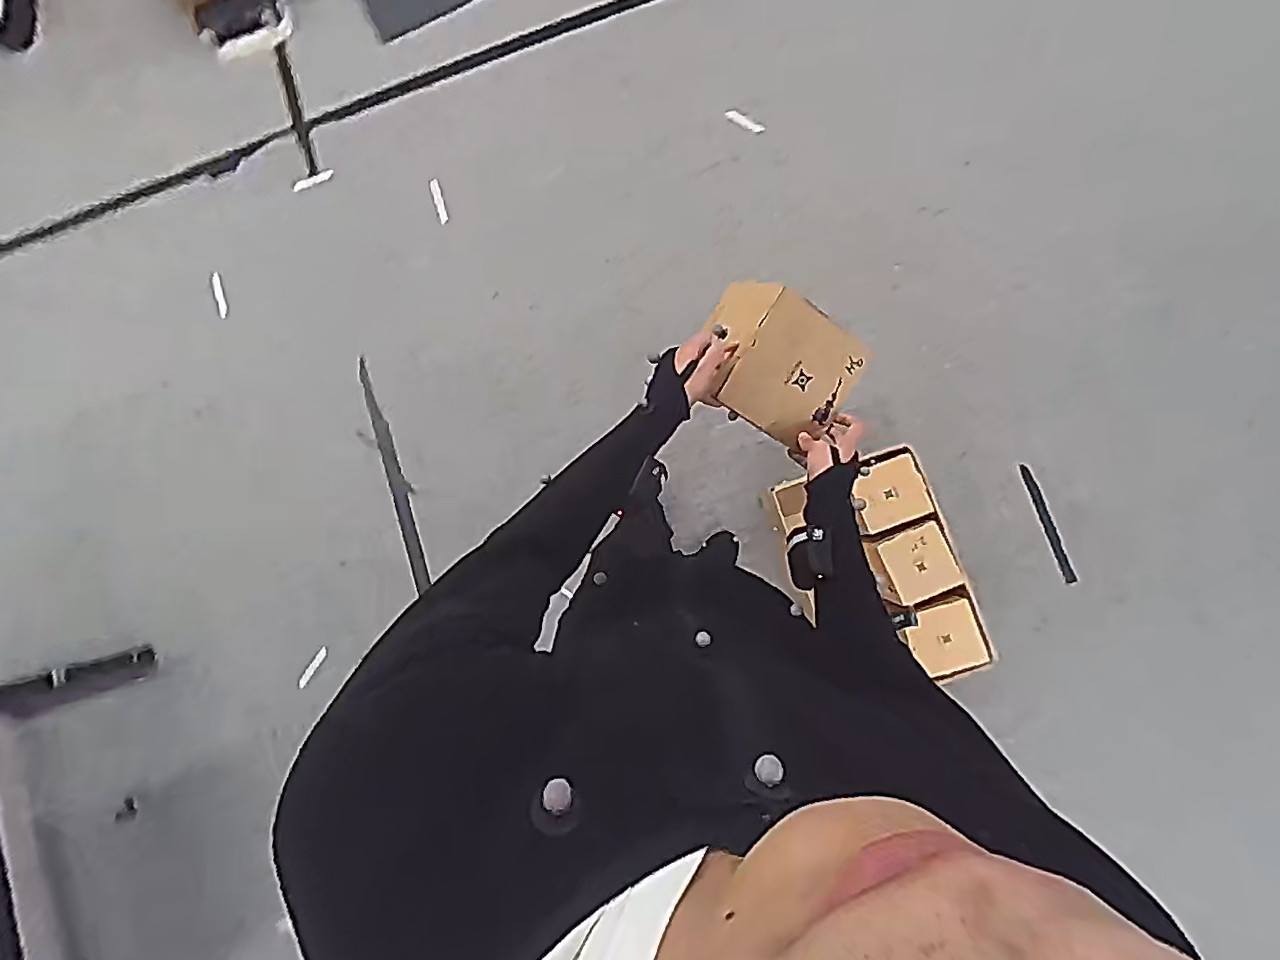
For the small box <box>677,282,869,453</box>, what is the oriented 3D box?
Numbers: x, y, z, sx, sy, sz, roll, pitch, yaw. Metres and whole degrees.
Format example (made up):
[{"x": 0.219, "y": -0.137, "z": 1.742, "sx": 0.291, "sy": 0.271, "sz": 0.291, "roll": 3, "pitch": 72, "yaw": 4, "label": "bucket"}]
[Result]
[{"x": 0.180, "y": -0.166, "z": 0.785, "sx": 0.179, "sy": 0.176, "sz": 0.168, "roll": 28, "pitch": 101, "yaw": -22, "label": "small box"}]

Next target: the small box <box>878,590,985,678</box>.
[{"x": 0.770, "y": 0.405, "z": 1.448, "sx": 0.179, "sy": 0.176, "sz": 0.168, "roll": -18, "pitch": 84, "yaw": 6, "label": "small box"}]
